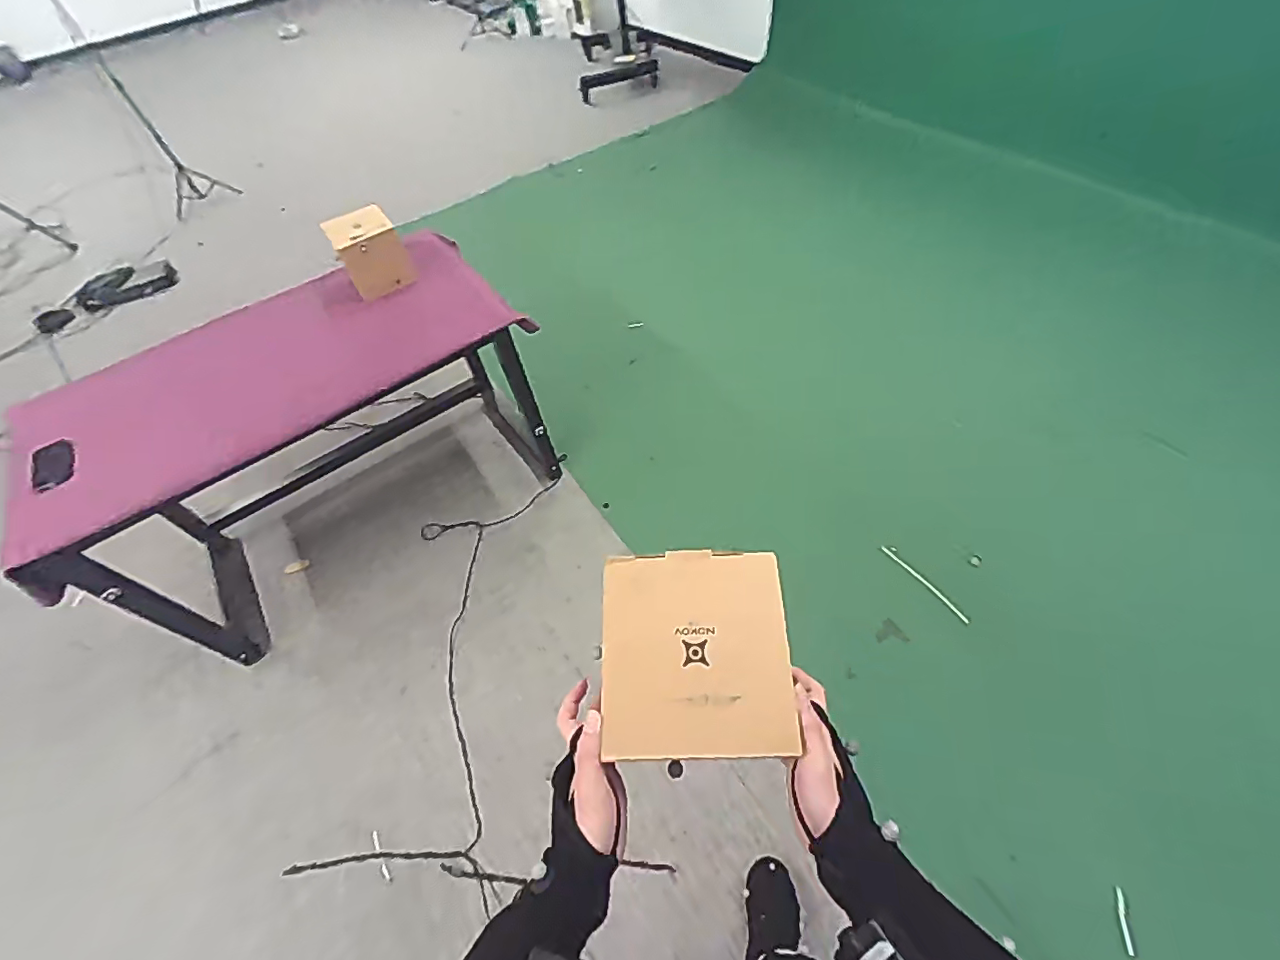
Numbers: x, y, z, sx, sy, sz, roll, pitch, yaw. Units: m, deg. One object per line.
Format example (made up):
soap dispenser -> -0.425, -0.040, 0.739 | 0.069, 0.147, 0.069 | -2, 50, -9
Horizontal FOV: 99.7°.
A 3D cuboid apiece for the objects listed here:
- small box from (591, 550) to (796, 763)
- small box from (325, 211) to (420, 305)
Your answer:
small box -> 0.044, 0.180, 0.536 | 0.168, 0.176, 0.179 | -2, 63, 2
small box -> -0.767, -0.638, 1.561 | 0.168, 0.176, 0.179 | -32, 55, -15
